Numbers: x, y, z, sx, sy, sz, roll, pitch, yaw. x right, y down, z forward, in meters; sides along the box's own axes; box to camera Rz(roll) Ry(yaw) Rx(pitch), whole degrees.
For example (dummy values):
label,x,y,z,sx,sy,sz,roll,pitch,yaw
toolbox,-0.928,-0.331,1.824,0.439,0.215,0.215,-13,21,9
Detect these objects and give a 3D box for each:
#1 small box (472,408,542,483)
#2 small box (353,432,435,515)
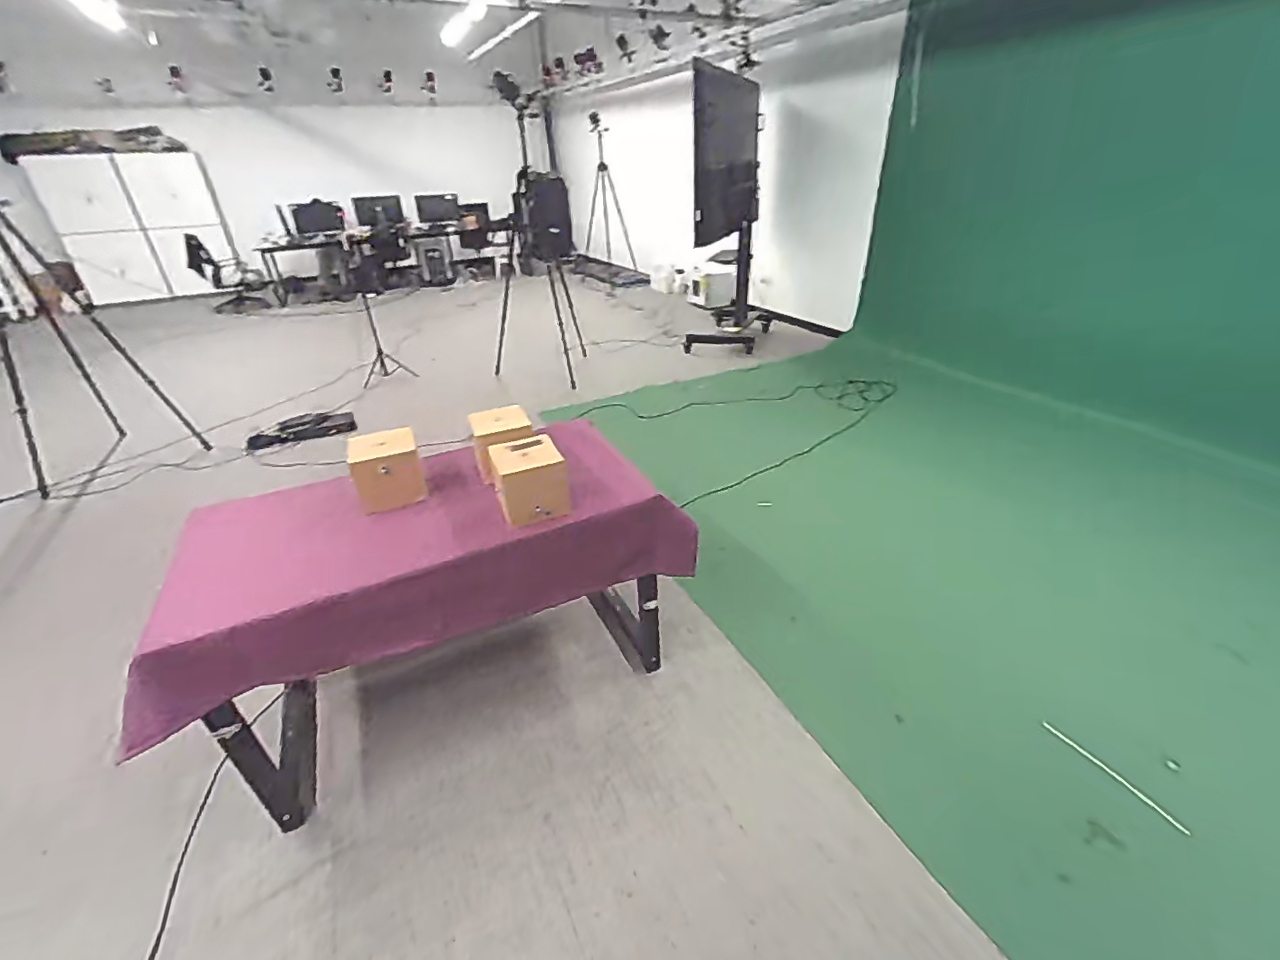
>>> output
label,x,y,z,sx,sy,sz,roll,pitch,yaw
small box,-0.410,-0.102,1.671,0.168,0.176,0.179,-15,32,-18
small box,-0.706,-0.018,1.559,0.179,0.176,0.168,-14,33,-19
